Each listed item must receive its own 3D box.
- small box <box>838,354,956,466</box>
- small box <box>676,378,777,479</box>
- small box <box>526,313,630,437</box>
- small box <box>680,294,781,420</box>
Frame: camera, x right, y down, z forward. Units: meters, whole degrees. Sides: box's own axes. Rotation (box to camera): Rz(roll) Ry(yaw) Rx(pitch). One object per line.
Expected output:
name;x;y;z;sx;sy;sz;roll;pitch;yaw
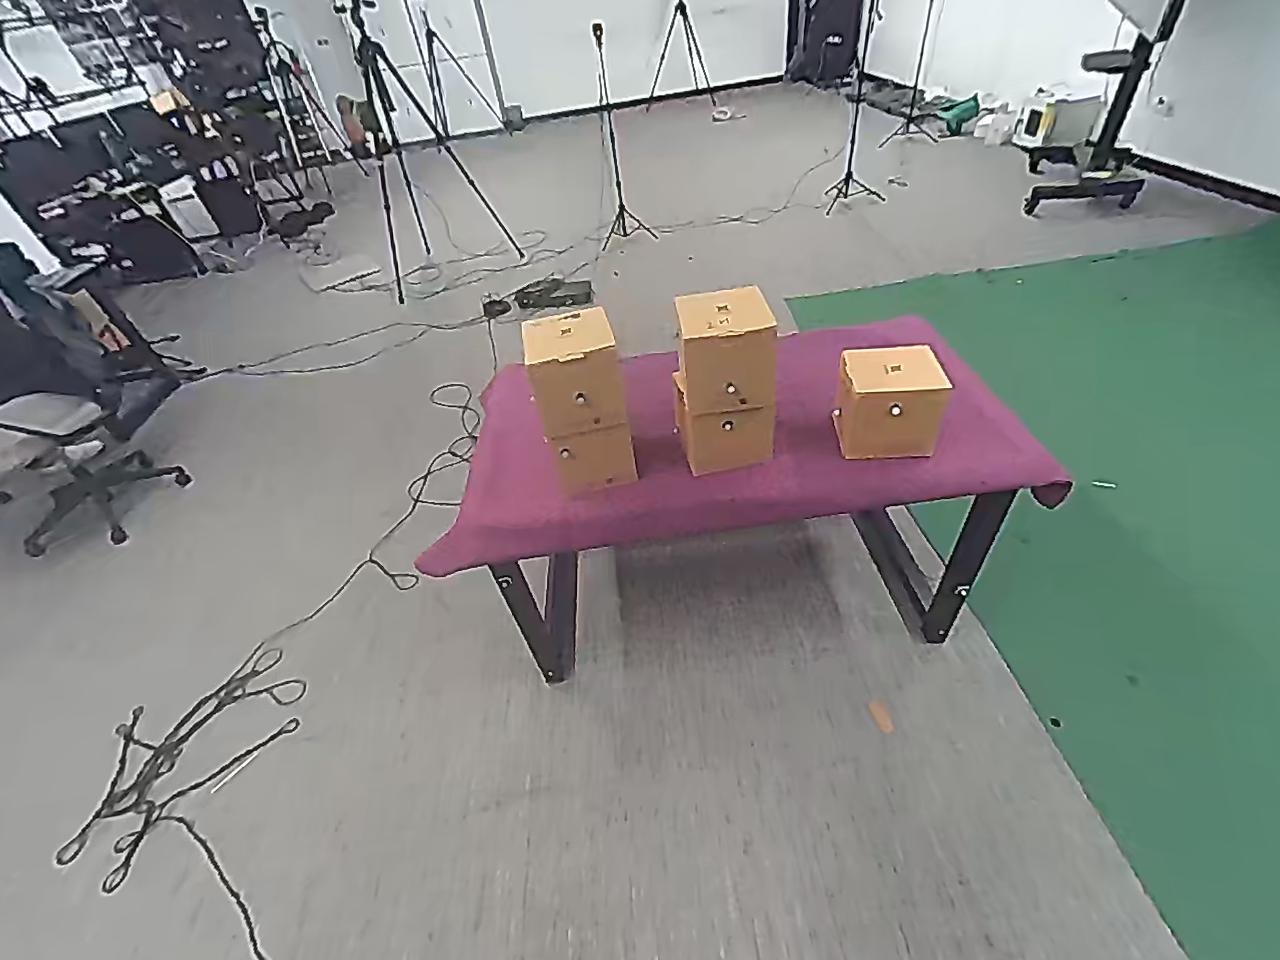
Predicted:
small box;0.521;-0.143;1.125;0.179;0.176;0.168;-2;41;11
small box;0.184;-0.121;1.163;0.179;0.176;0.168;-11;42;-3
small box;-0.120;-0.199;1.056;0.168;0.176;0.179;-12;42;-3
small box;0.169;-0.237;1.047;0.168;0.176;0.179;-7;42;3
